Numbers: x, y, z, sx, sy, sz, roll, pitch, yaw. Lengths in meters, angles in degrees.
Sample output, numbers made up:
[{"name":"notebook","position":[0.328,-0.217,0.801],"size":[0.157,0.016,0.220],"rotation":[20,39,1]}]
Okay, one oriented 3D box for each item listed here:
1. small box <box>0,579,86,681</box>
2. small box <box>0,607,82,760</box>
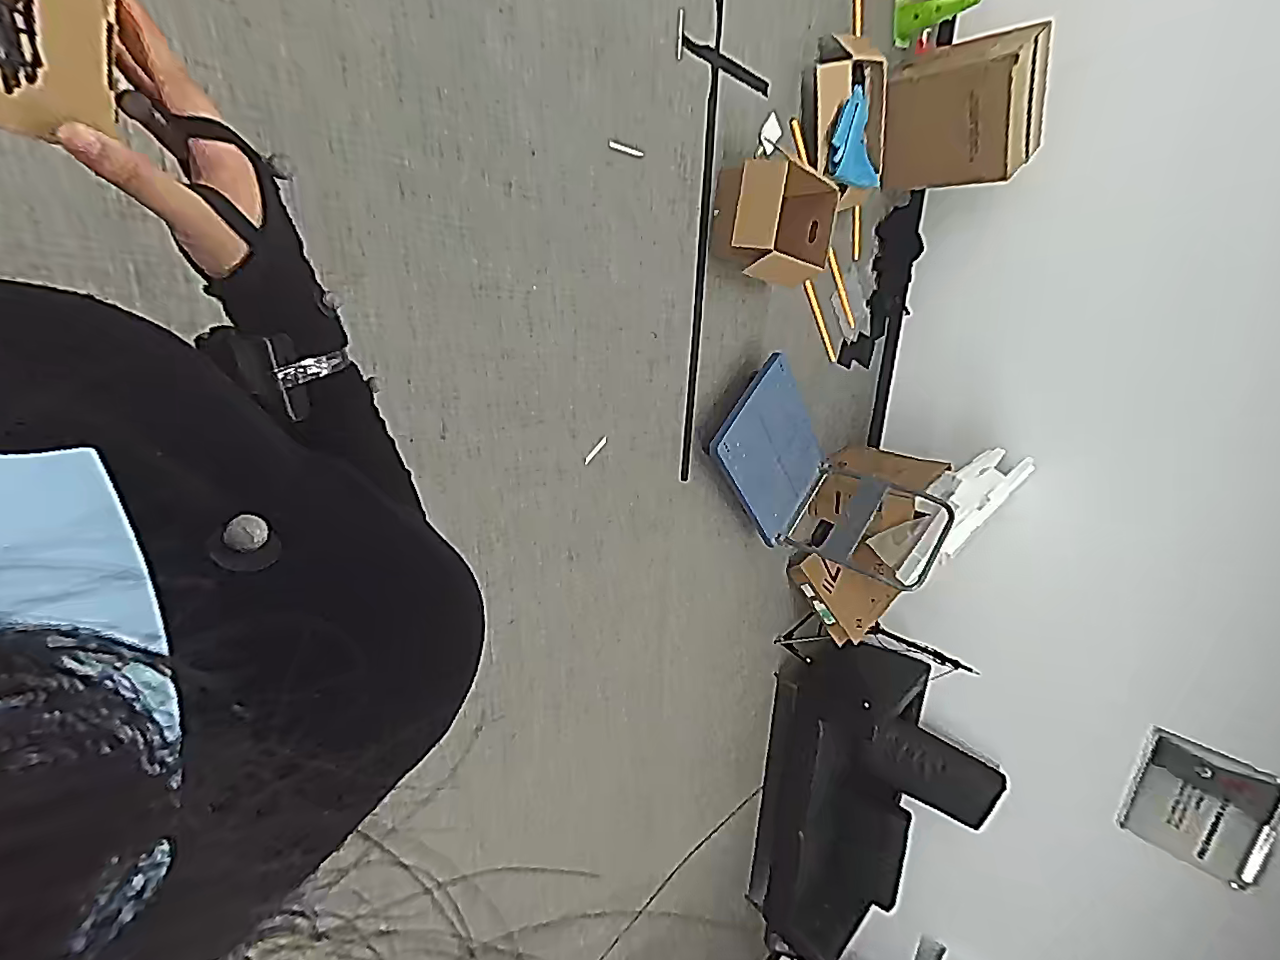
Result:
[{"name":"small box","position":[-1.172,0.301,1.002],"size":[0.168,0.176,0.179],"rotation":[-18,117,-41]},{"name":"small box","position":[-1.058,0.341,0.893],"size":[0.168,0.176,0.179],"rotation":[-17,115,-42]}]
